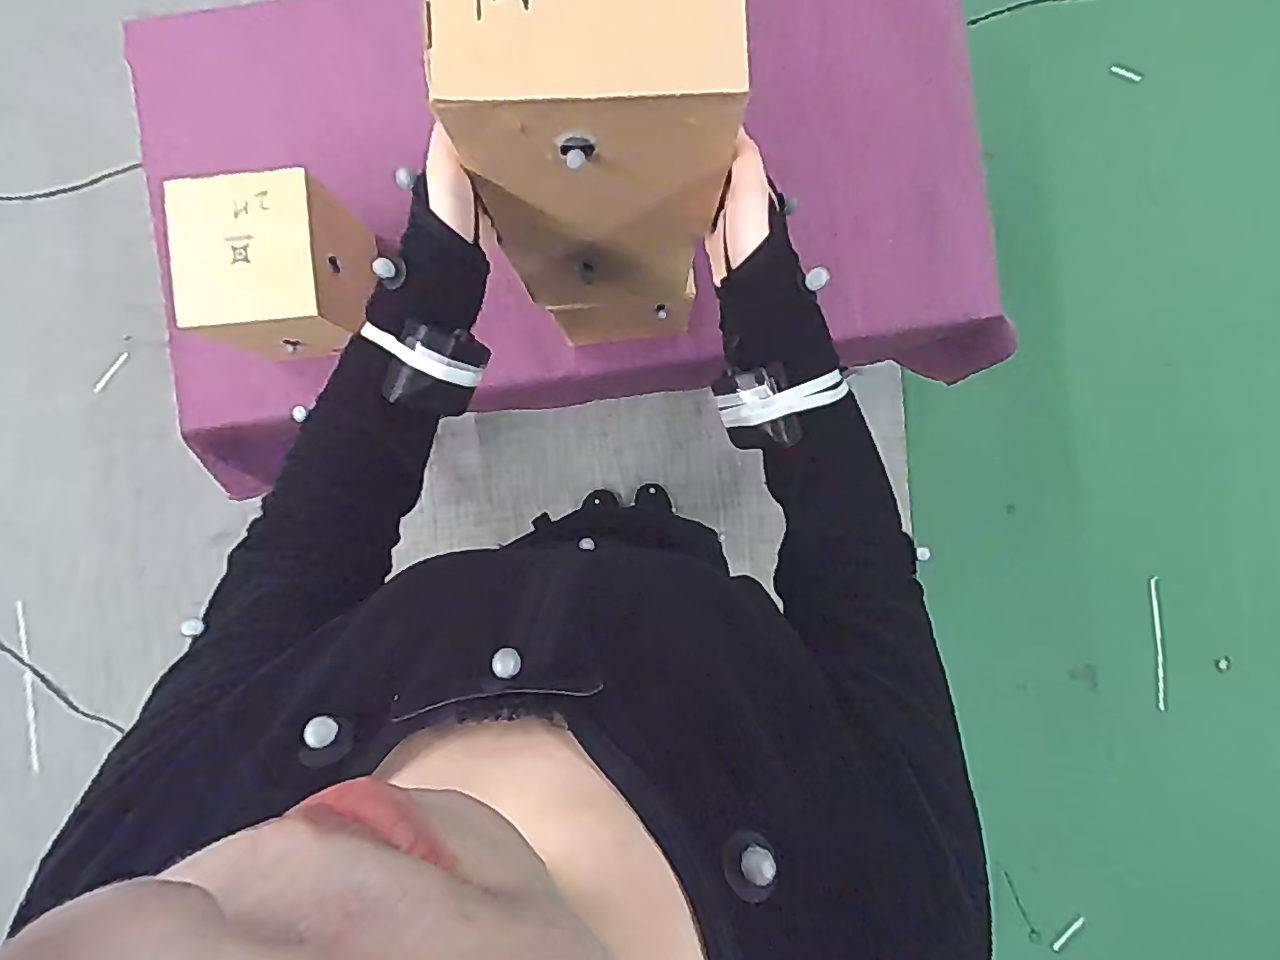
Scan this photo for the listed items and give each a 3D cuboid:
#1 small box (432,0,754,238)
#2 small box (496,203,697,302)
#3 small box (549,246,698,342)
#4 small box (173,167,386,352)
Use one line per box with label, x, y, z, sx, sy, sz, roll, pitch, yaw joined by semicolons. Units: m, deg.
small box;-0.026;-0.283;0.372;0.179;0.176;0.168;-2;90;0
small box;-0.034;-0.284;0.536;0.179;0.176;0.168;-2;90;1
small box;-0.024;-0.285;0.701;0.179;0.176;0.168;-6;90;1
small box;-0.451;-0.270;0.705;0.168;0.176;0.179;-5;90;0
